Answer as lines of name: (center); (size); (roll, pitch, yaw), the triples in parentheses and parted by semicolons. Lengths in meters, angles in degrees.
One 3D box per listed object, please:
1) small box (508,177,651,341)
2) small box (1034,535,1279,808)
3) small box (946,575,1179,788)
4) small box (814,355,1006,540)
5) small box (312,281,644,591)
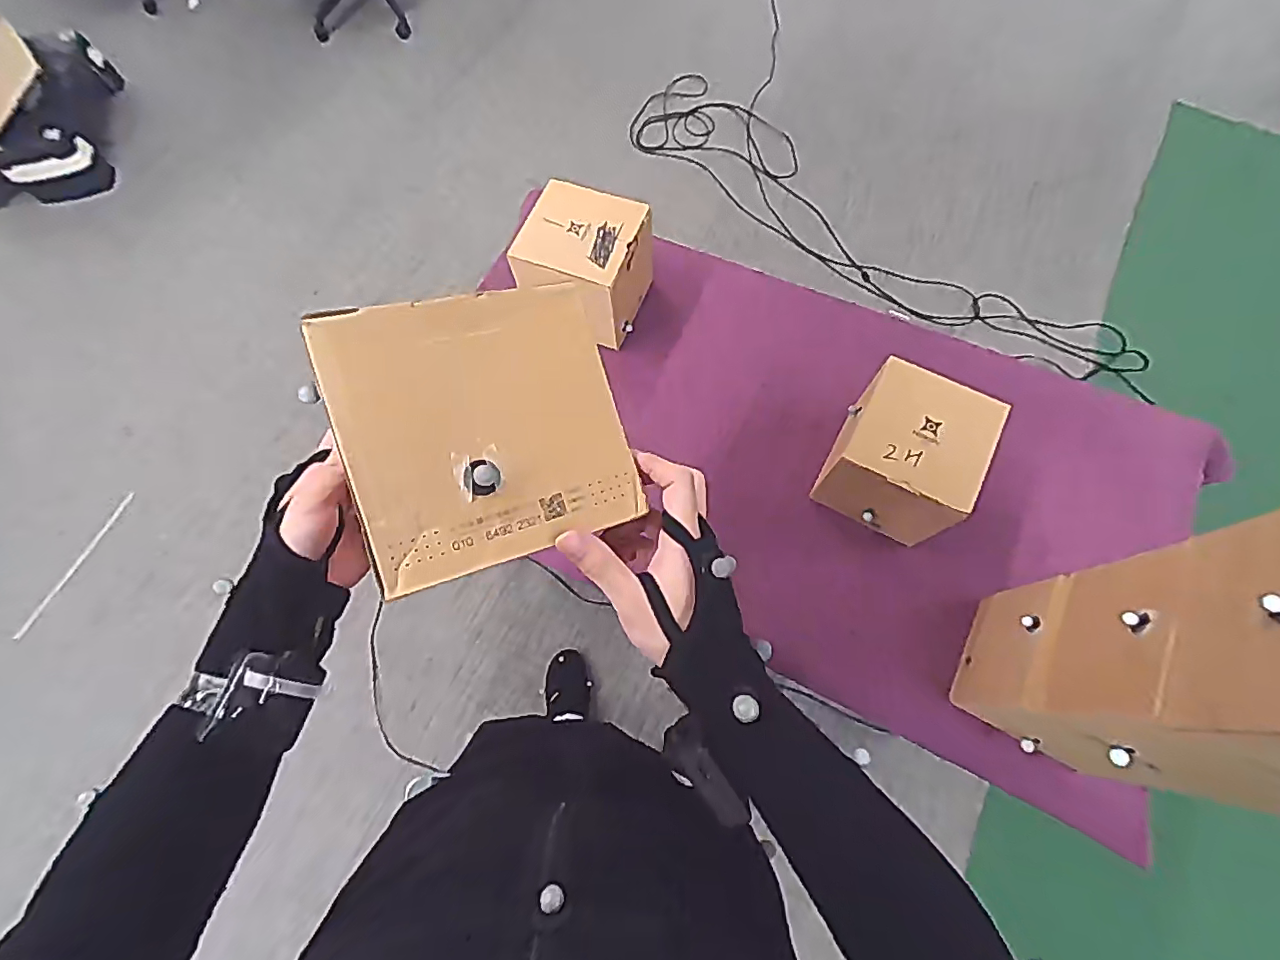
small box: (-0.088, -0.358, 0.904); (0.179, 0.176, 0.168); (20, 73, 9)
small box: (0.527, 0.183, 0.520); (0.168, 0.176, 0.179); (27, 73, 13)
small box: (0.528, 0.241, 0.672); (0.179, 0.176, 0.168); (28, 72, 11)
small box: (0.373, -0.039, 0.778); (0.168, 0.176, 0.179); (28, 74, 11)
small box: (-0.118, -0.023, 0.407); (0.168, 0.179, 0.176); (-17, 90, -23)
